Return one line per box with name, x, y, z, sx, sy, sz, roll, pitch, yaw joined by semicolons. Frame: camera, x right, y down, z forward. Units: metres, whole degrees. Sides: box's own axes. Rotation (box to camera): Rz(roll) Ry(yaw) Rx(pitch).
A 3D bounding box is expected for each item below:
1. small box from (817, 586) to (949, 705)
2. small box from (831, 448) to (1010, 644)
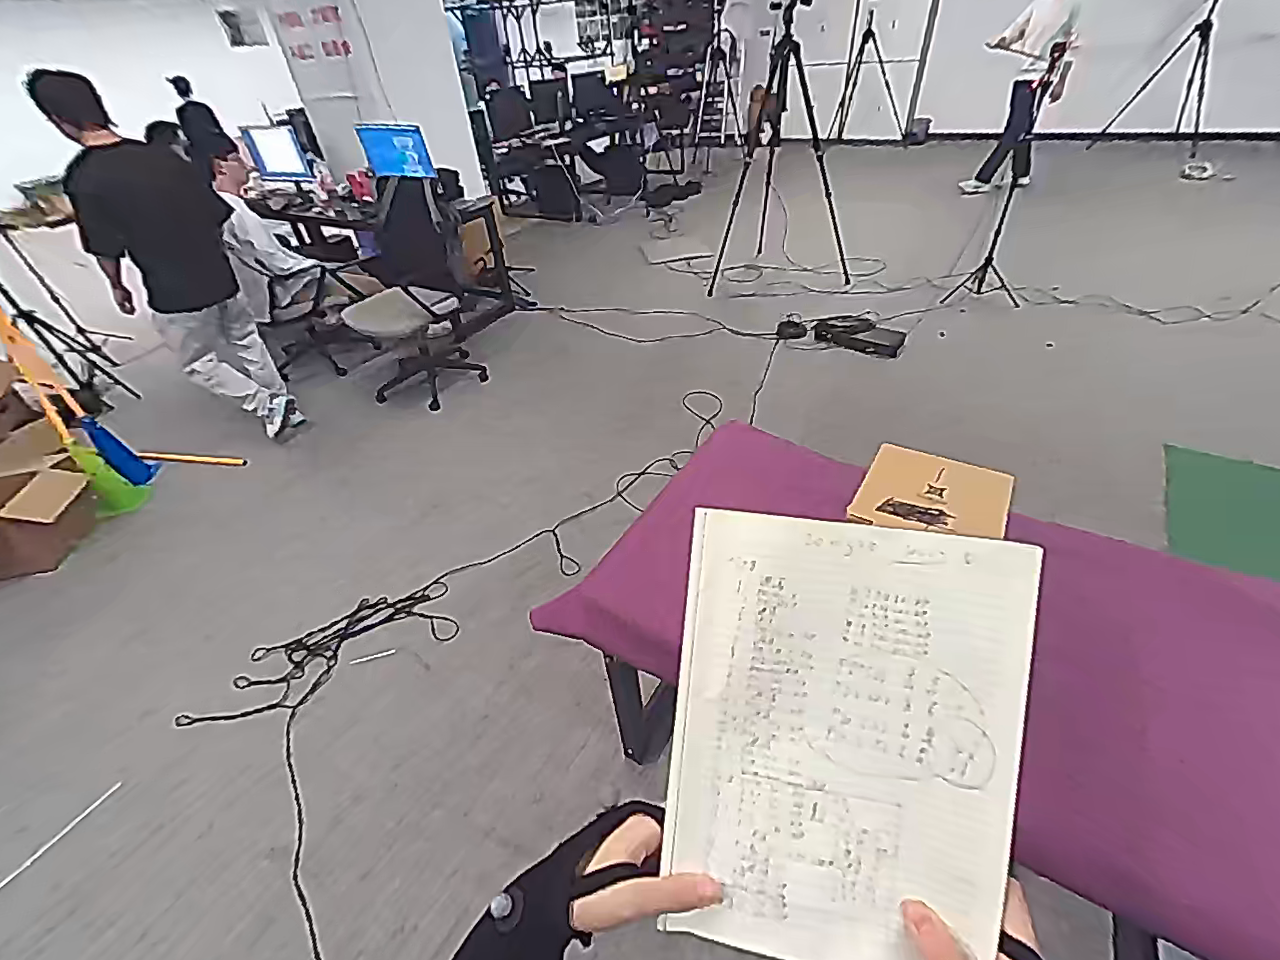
small box;0.387;0.213;0.844;0.168;0.176;0.179;20;46;27
small box;0.372;0.088;0.736;0.168;0.176;0.179;20;44;28
